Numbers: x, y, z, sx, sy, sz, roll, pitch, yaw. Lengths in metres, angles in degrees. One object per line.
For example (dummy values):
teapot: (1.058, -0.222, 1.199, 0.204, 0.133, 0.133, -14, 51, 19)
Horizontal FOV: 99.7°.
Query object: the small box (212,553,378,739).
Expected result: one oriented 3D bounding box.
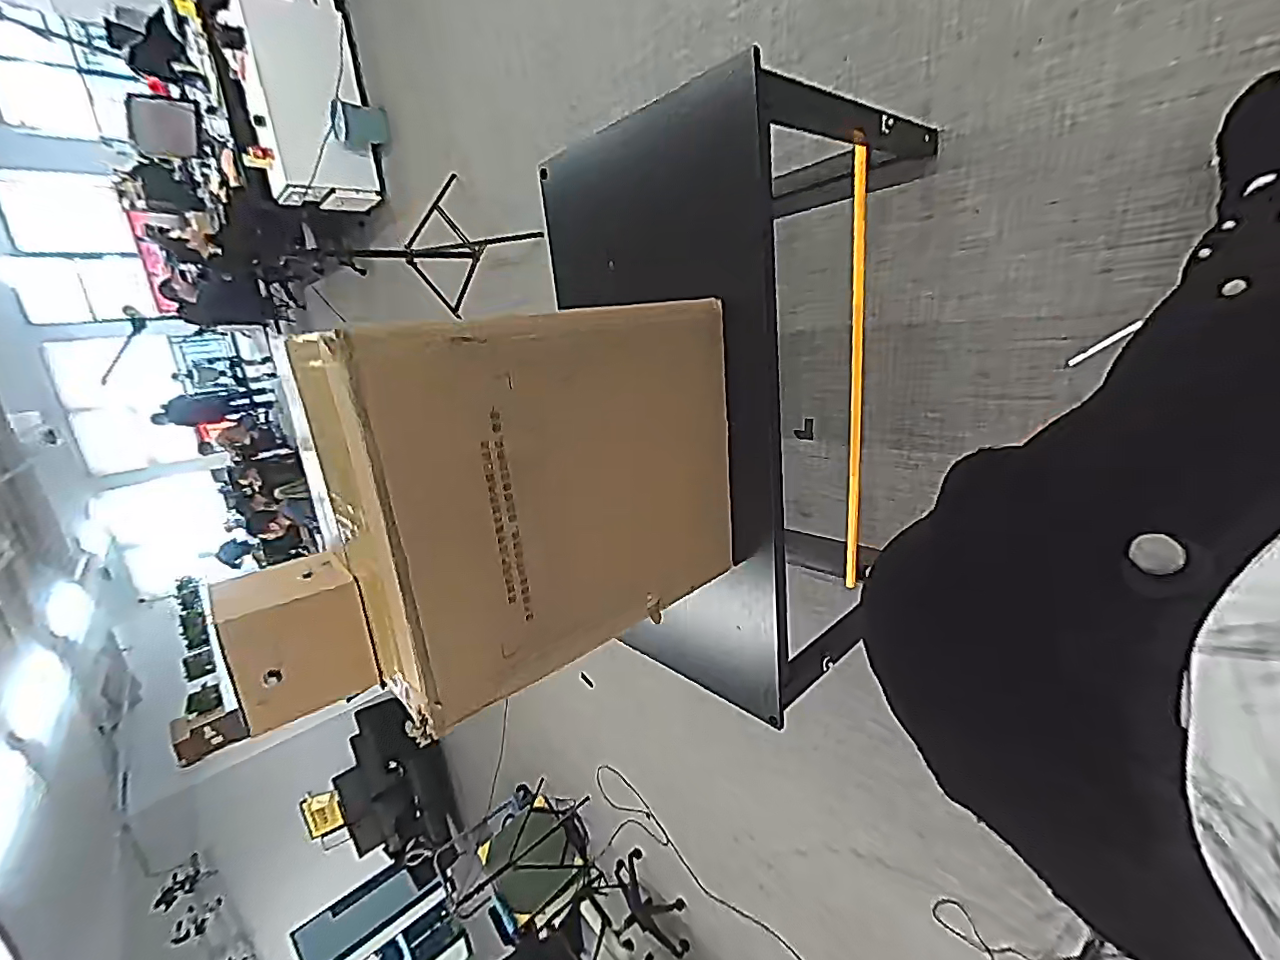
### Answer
small box: (-0.505, 0.231, 0.801, 0.168, 0.176, 0.179, 15, 115, 48)
